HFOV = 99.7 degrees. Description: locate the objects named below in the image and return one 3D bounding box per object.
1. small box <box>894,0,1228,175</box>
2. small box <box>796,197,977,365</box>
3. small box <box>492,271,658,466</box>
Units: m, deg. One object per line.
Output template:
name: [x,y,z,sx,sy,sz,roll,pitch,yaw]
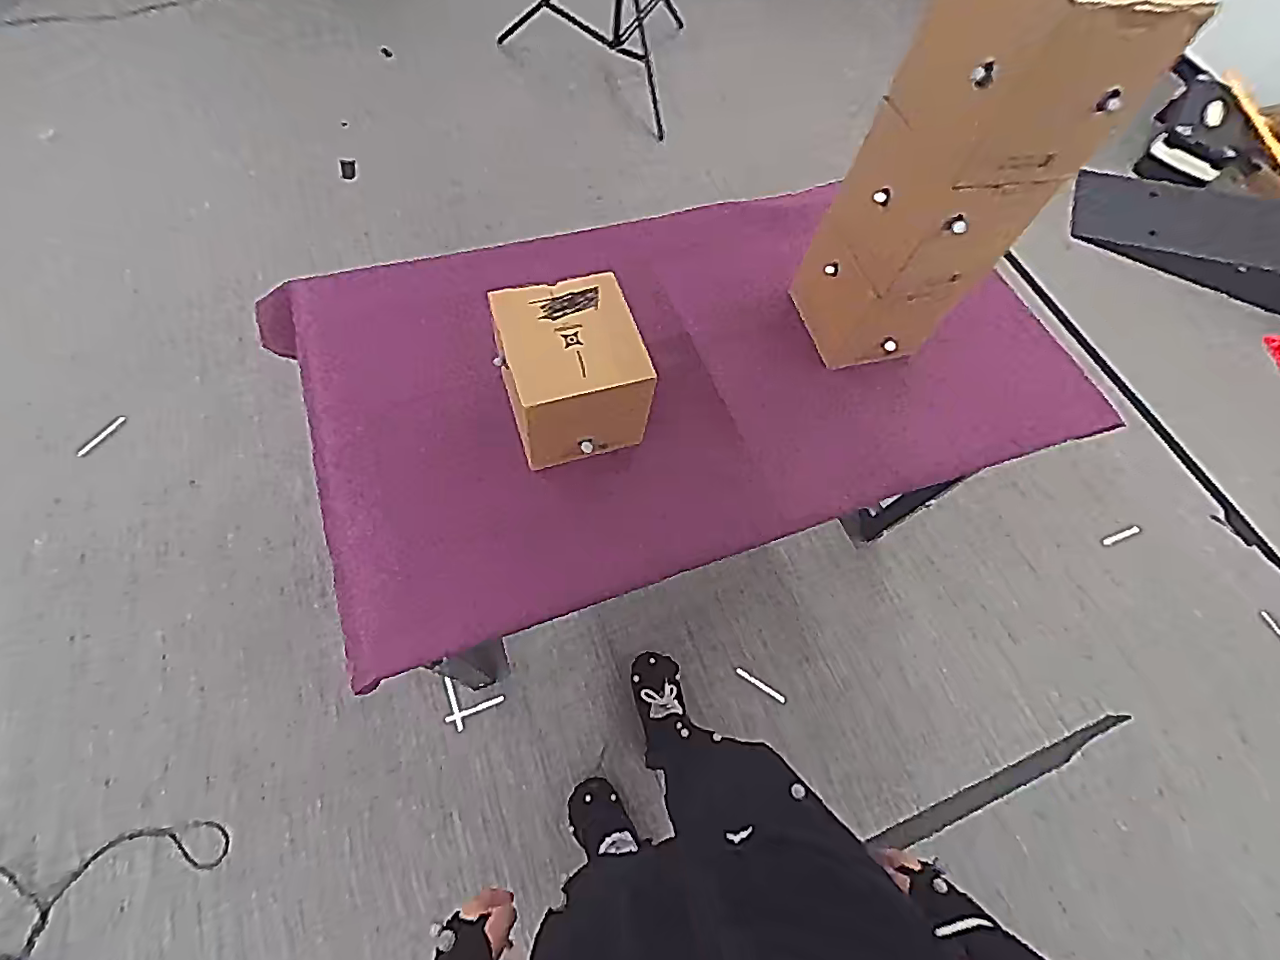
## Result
small box: [0.404,-0.440,0.557,0.168,0.176,0.179,-10,65,-12]
small box: [0.372,-0.310,0.855,0.168,0.176,0.179,-12,67,-11]
small box: [-0.090,-0.144,0.725,0.168,0.176,0.179,-15,69,-13]
